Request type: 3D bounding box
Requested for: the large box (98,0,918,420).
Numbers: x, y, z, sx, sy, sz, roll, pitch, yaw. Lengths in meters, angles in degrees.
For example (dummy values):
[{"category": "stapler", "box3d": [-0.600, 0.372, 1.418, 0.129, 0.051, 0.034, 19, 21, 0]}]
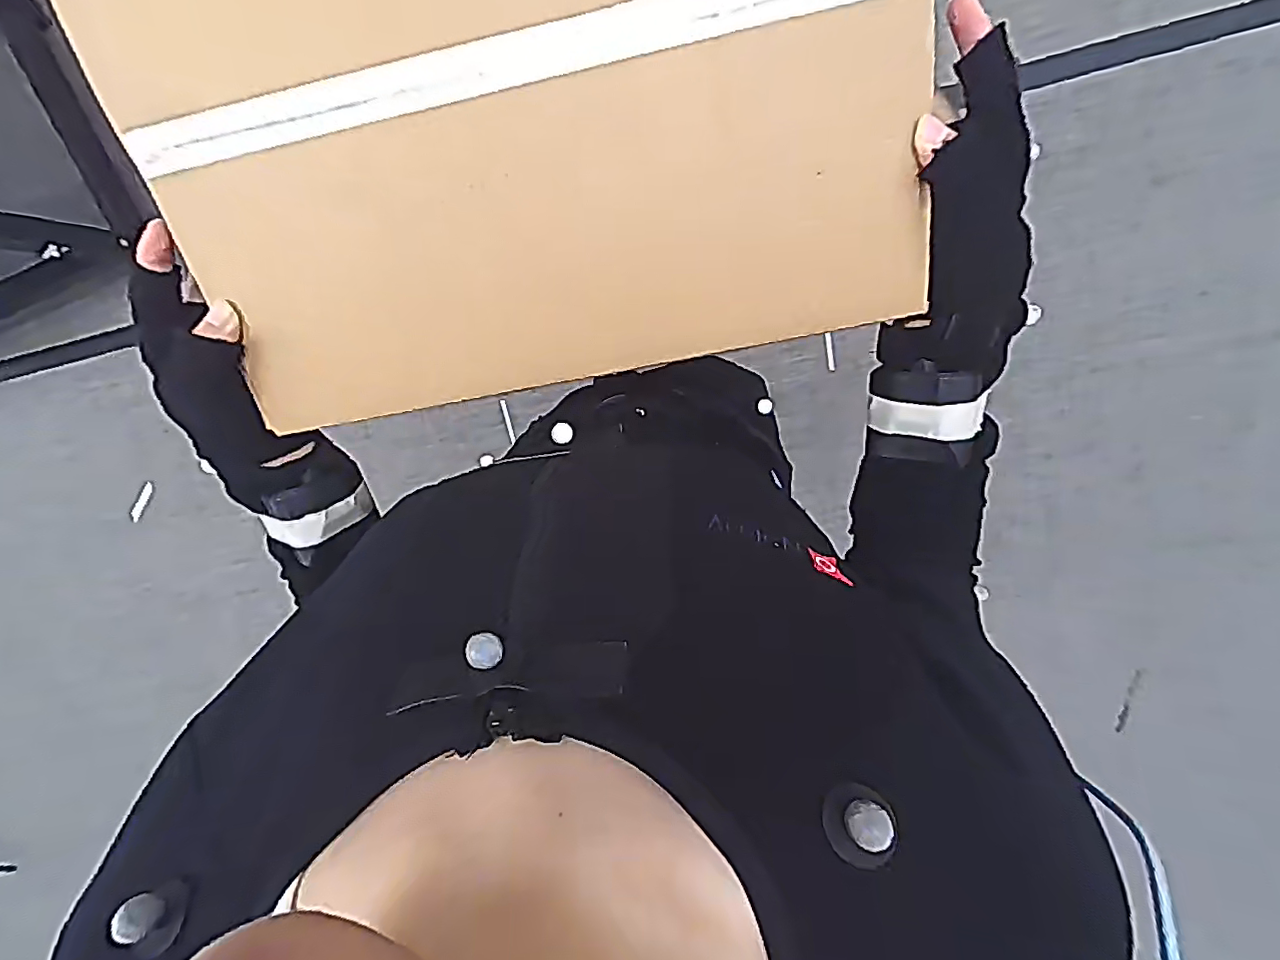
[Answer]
[{"category": "large box", "box3d": [-0.061, -0.270, 0.413, 0.408, 0.320, 0.320, -10, 114, 5]}]
